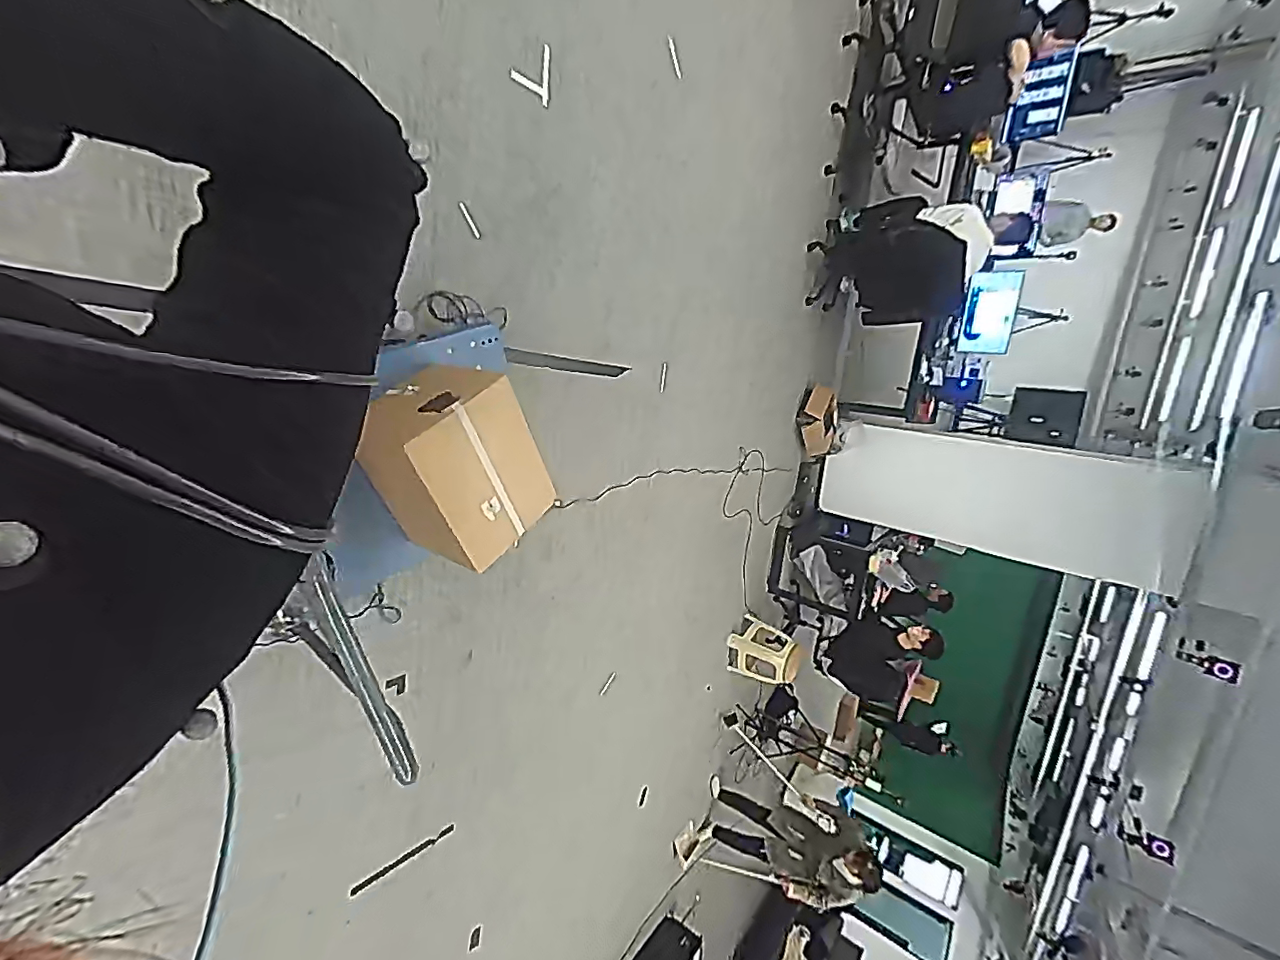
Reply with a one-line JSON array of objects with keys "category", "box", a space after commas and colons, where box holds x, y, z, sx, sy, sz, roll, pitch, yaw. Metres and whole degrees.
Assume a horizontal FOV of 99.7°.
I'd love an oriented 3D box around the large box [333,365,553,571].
[{"category": "large box", "box": [-0.491, -0.041, 1.404, 0.320, 0.320, 0.408, -46, 136, -35]}]
